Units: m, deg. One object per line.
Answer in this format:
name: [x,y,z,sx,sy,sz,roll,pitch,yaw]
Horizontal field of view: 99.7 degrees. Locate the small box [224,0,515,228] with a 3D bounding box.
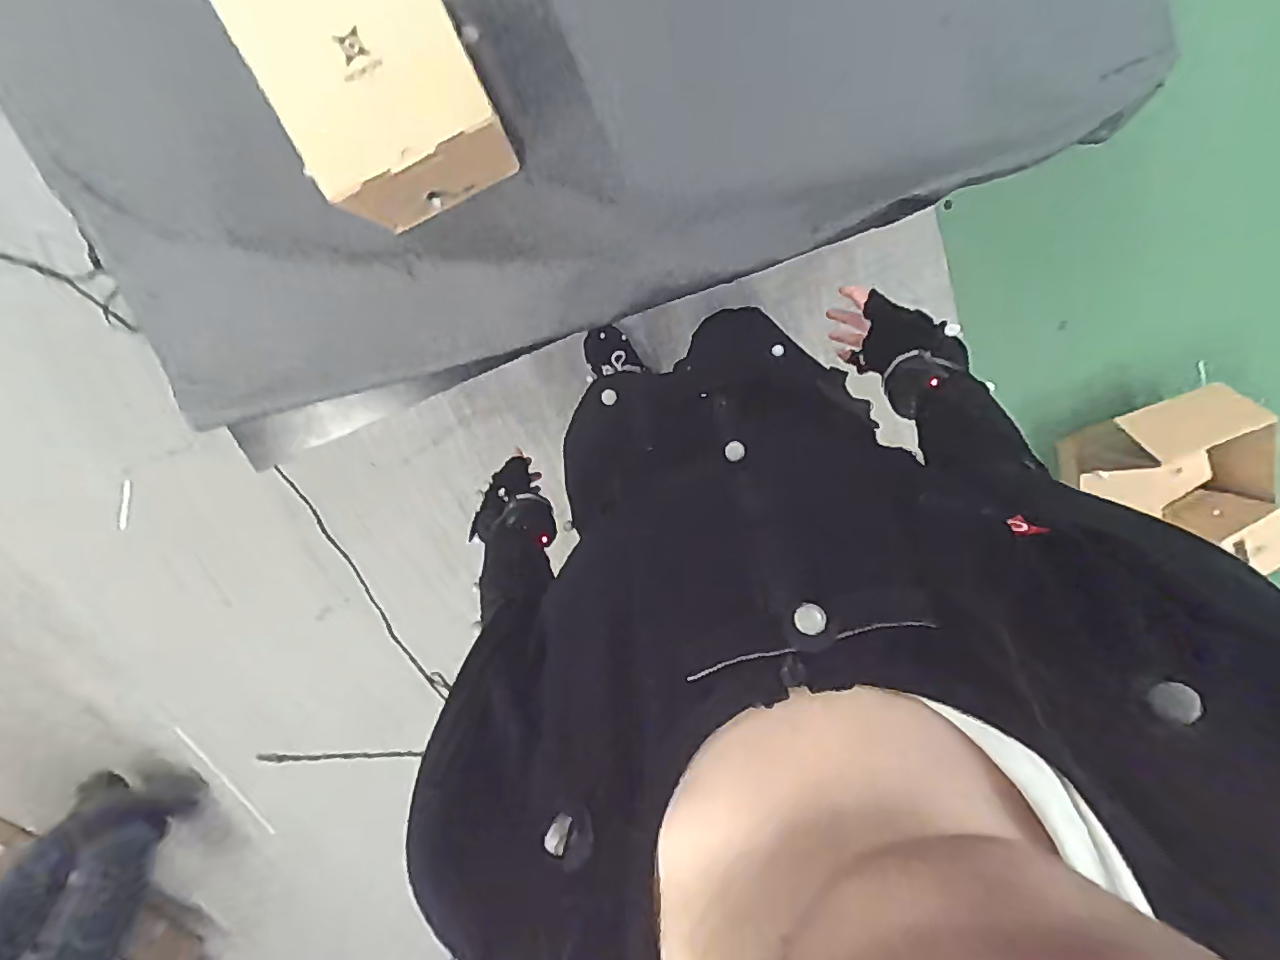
small box: [-0.241,-0.379,0.535,0.168,0.176,0.179,-26,107,2]
